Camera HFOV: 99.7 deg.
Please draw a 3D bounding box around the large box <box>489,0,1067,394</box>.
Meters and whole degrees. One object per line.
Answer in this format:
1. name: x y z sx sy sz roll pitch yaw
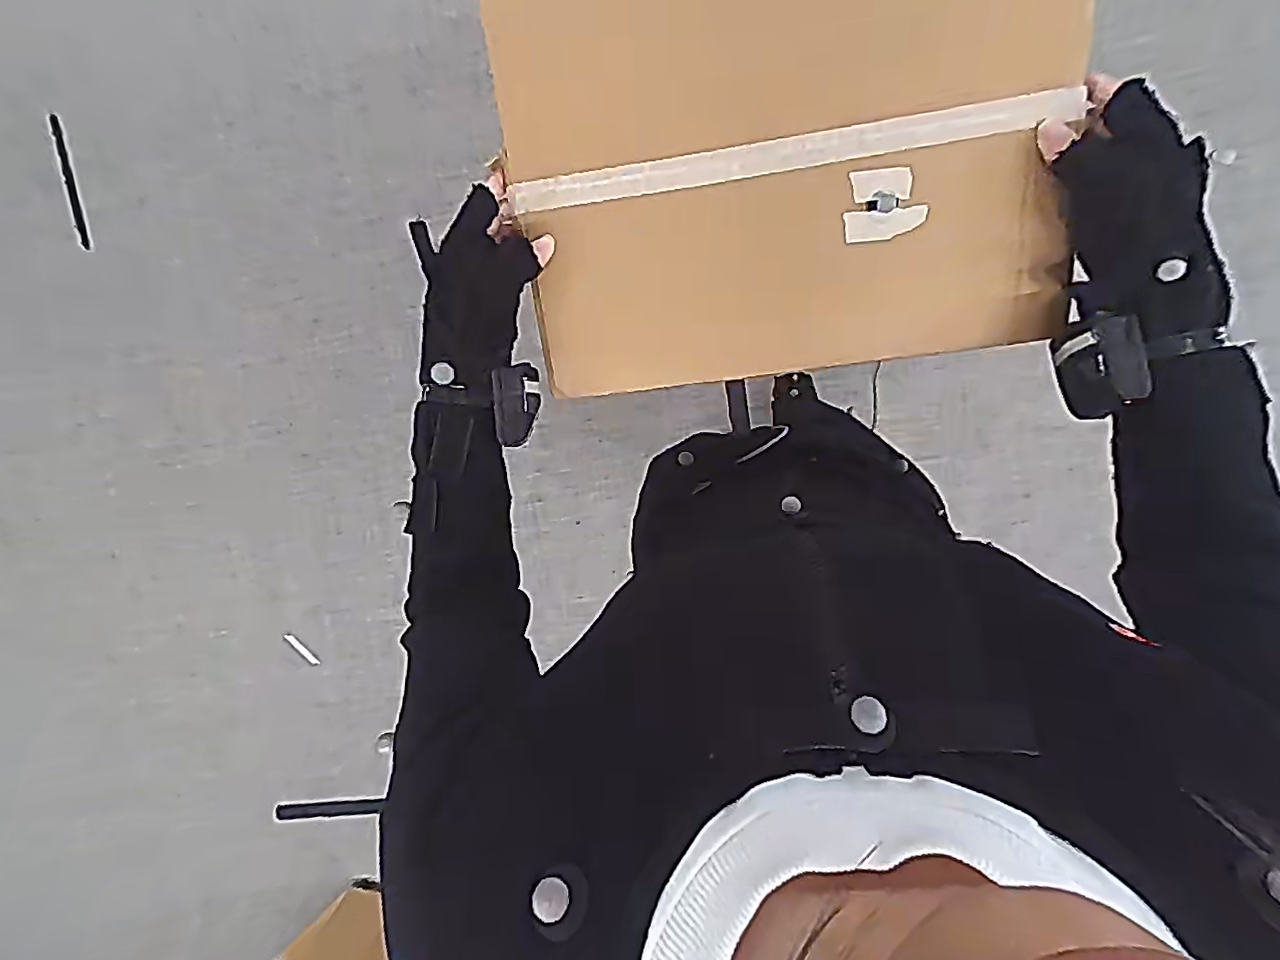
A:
1. large box: 0.114 -0.284 0.552 0.408 0.320 0.320 -7 106 5
